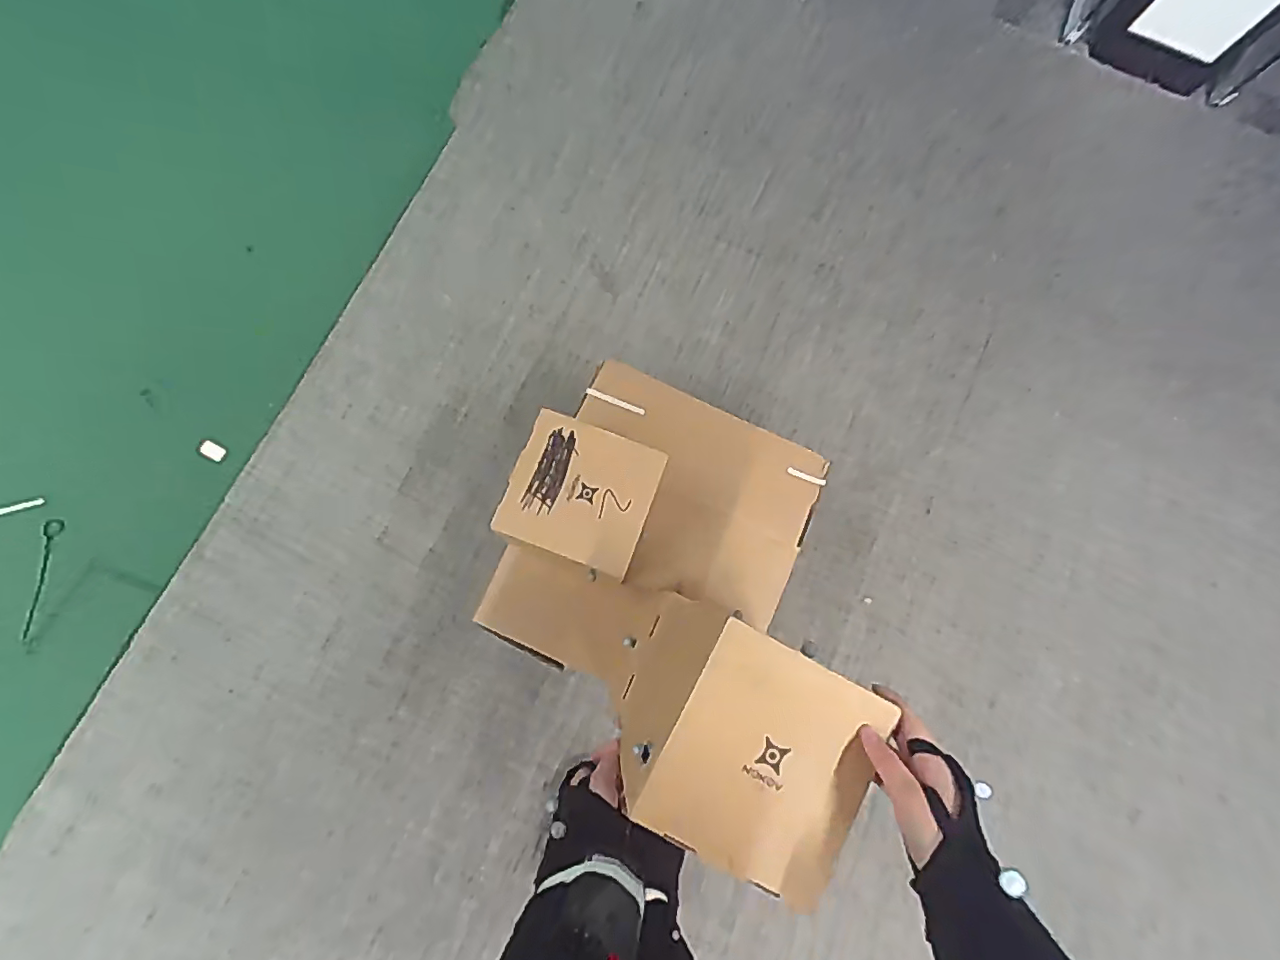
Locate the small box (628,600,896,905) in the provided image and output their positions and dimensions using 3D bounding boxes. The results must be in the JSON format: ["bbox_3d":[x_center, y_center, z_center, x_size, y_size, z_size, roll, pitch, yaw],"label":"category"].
[{"bbox_3d":[0.096,0.230,0.513,0.168,0.176,0.179,29,82,-1],"label":"small box"}]

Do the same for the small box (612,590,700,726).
[{"bbox_3d":[0.076,0.250,0.703,0.179,0.176,0.168,25,78,0],"label":"small box"}]
